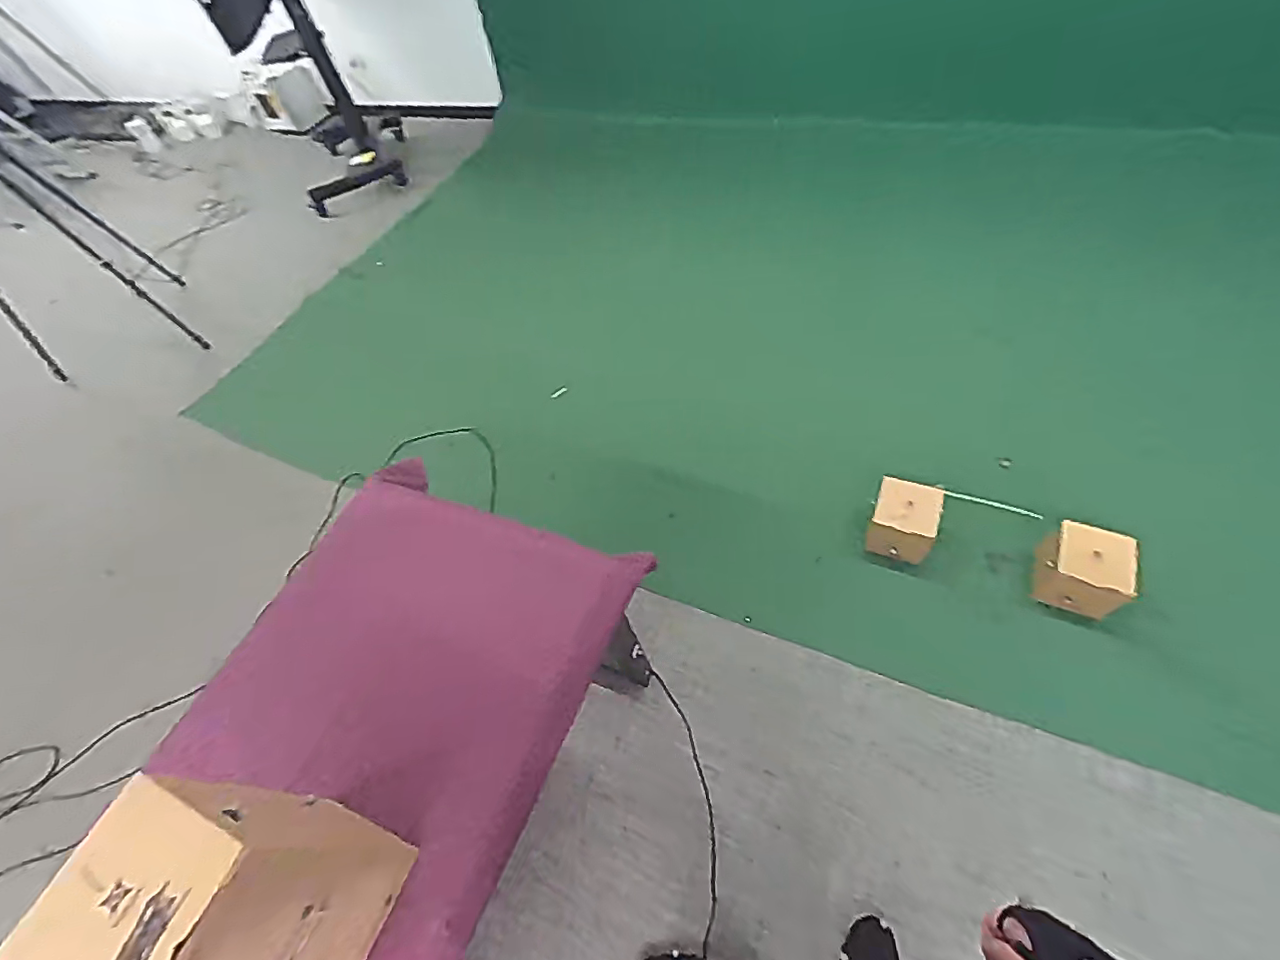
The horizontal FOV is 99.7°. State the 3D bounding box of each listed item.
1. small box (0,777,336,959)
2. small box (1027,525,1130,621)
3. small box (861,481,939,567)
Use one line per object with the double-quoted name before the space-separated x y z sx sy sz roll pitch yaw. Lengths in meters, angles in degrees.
"small box" -0.463 0.432 0.554 0.179 0.176 0.168 14 59 21
"small box" 1.196 0.258 1.483 0.168 0.176 0.179 18 61 20
"small box" 0.784 0.135 1.640 0.168 0.176 0.179 16 59 21
